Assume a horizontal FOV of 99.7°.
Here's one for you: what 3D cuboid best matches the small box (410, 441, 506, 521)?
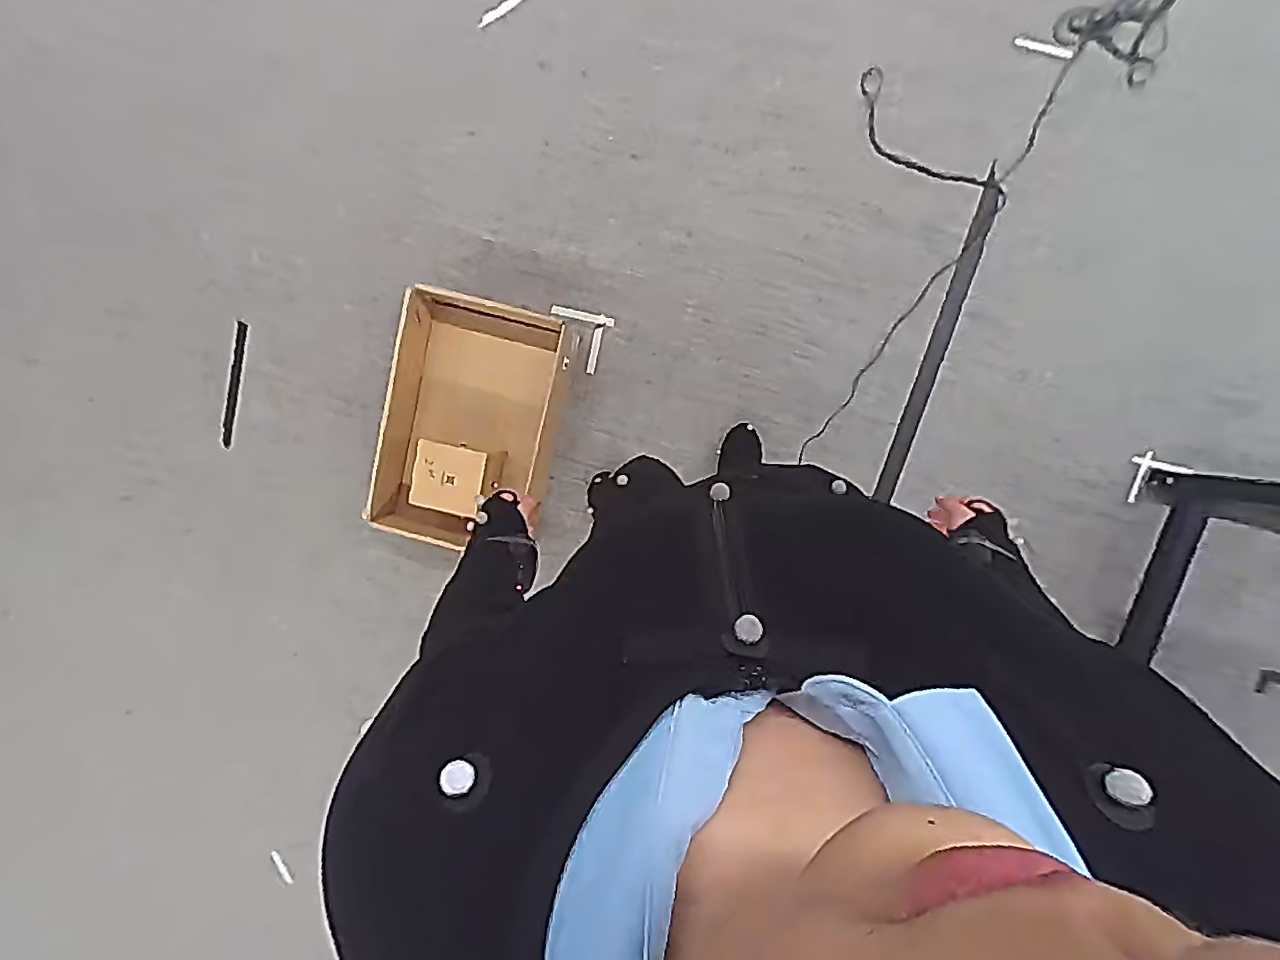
[{"bbox_3d":[-0.462,-0.005,1.400,0.179,0.176,0.168,13,96,2],"label":"small box"}]
